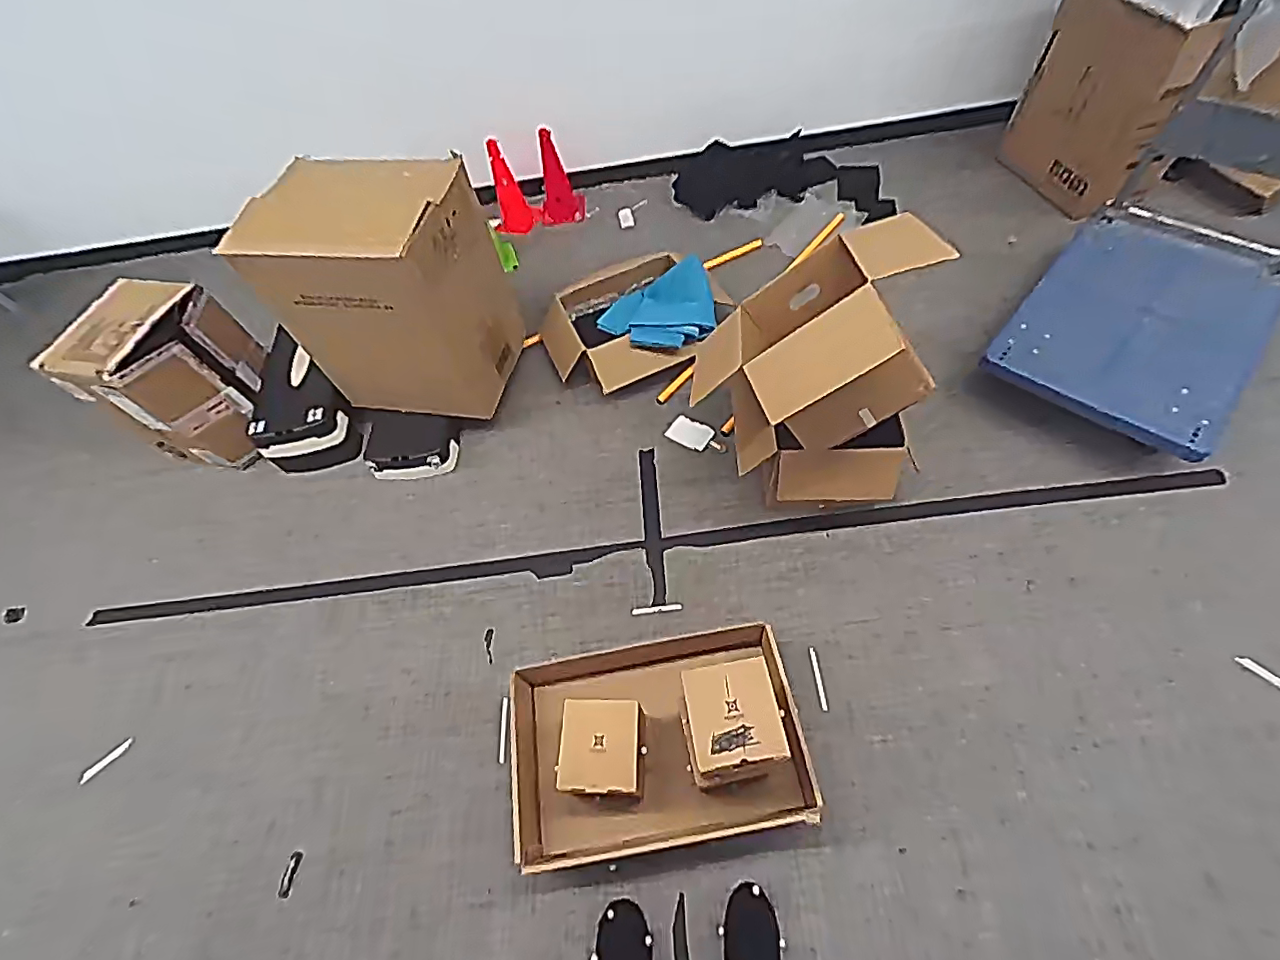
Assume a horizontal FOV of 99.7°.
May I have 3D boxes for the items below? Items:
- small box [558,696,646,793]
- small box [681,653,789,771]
[{"bbox_3d":[-0.077,0.588,1.200,0.168,0.176,0.179,-2,58,5],"label":"small box"},{"bbox_3d":[0.179,0.456,1.050,0.168,0.176,0.179,-11,57,1],"label":"small box"}]
